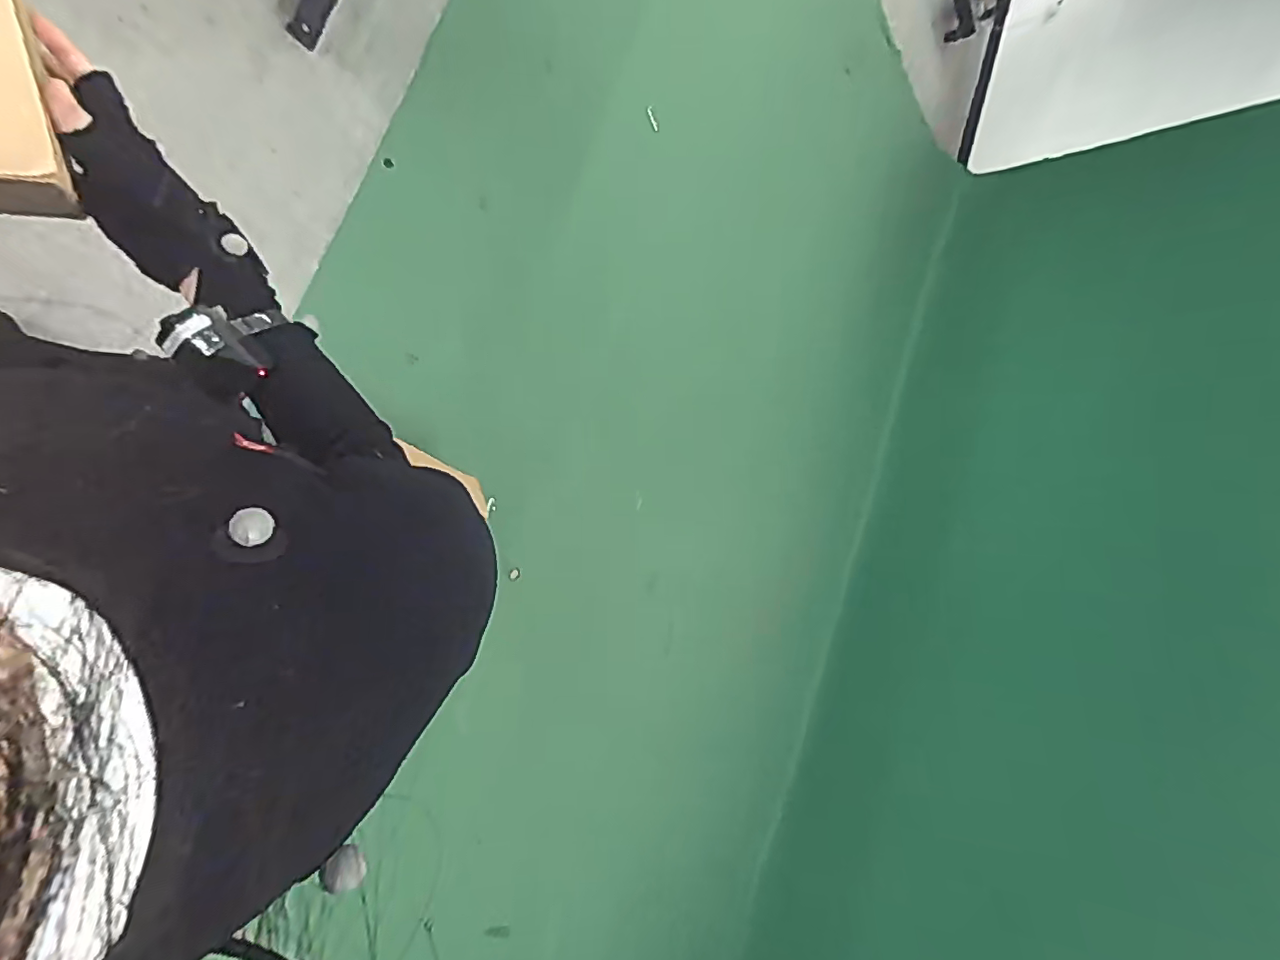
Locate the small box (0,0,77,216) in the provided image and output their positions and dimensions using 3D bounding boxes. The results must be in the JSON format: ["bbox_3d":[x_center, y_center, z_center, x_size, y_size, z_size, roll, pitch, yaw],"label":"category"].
[{"bbox_3d":[-0.447,-0.259,0.293,0.168,0.176,0.179,-14,112,-39],"label":"small box"}]
